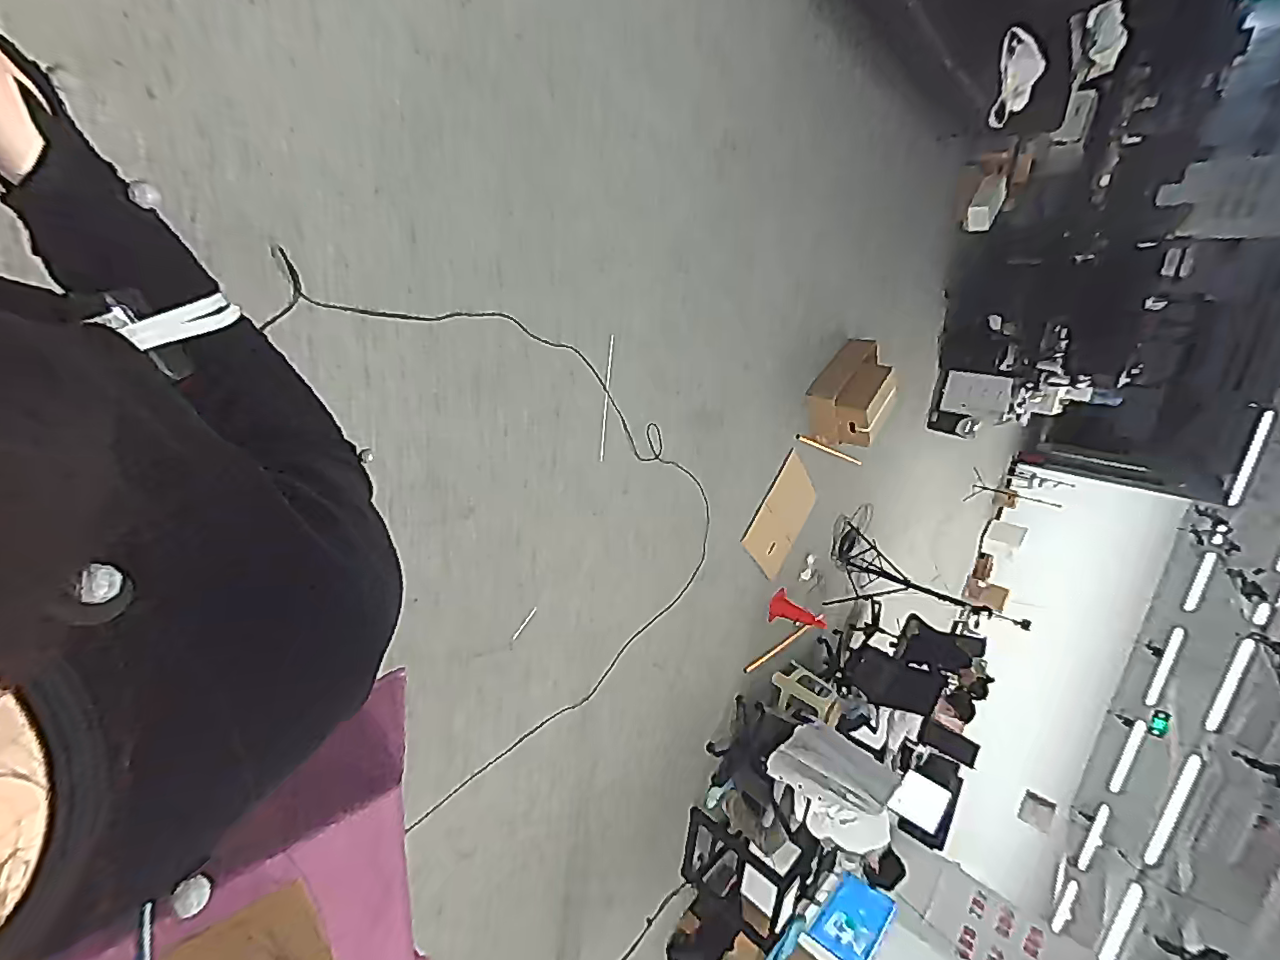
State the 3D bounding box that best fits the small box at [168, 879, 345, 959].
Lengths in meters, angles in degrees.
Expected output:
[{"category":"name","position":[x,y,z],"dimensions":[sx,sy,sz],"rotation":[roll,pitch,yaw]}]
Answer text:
[{"category":"small box","position":[-0.546,0.734,0.773],"dimensions":[0.179,0.176,0.168],"rotation":[-9,112,-47]}]
